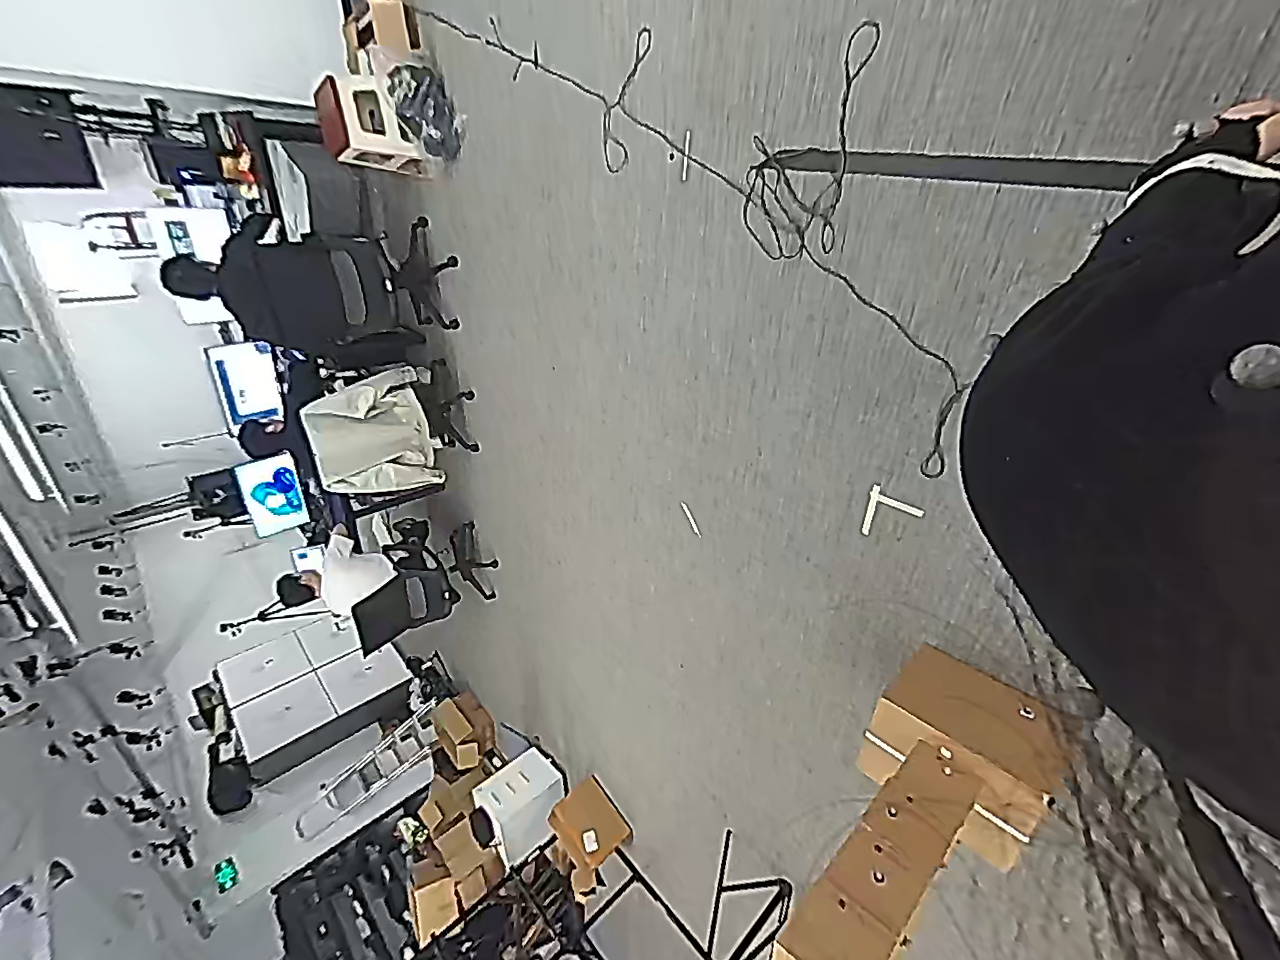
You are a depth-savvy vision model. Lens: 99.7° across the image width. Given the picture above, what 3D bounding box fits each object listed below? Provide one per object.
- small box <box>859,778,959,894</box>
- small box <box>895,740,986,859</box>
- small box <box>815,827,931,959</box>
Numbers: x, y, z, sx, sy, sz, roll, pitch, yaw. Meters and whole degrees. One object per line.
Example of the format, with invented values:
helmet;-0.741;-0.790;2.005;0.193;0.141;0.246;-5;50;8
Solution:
small box;0.615;0.845;1.258;0.168;0.176;0.179;26;127;41
small box;0.736;0.803;1.357;0.168;0.176;0.179;26;125;40
small box;0.498;0.899;1.155;0.168;0.176;0.179;22;123;44
